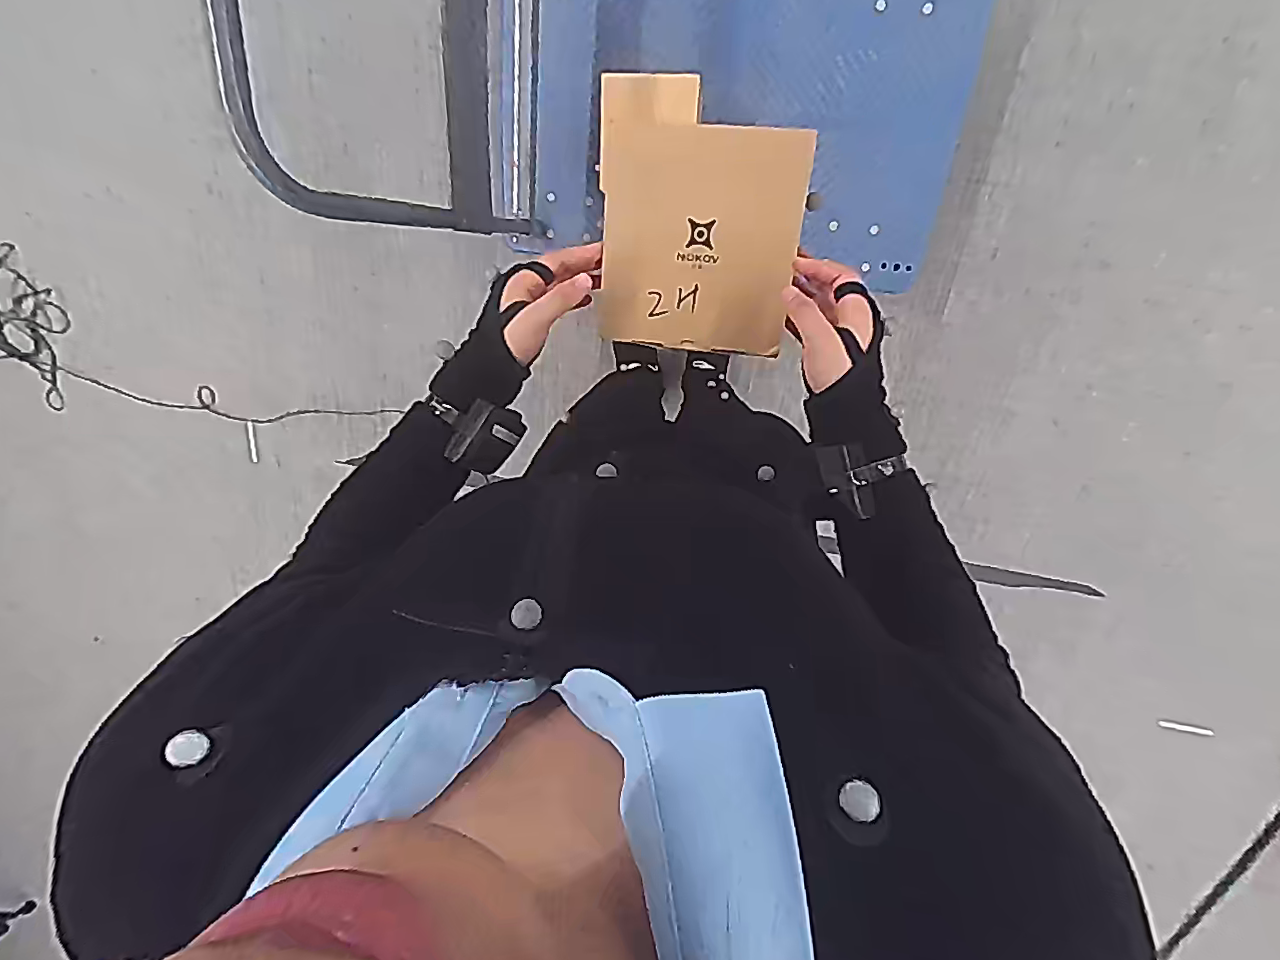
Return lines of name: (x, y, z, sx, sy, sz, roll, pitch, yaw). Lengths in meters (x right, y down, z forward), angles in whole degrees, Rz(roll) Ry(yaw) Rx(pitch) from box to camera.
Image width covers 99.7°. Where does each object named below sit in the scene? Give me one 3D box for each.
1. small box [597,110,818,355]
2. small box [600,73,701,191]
small box: (0.061, -0.231, 0.523, 0.168, 0.176, 0.179, 8, 114, 7)
small box: (0.021, -0.613, 0.991, 0.168, 0.176, 0.179, 4, 112, 5)
